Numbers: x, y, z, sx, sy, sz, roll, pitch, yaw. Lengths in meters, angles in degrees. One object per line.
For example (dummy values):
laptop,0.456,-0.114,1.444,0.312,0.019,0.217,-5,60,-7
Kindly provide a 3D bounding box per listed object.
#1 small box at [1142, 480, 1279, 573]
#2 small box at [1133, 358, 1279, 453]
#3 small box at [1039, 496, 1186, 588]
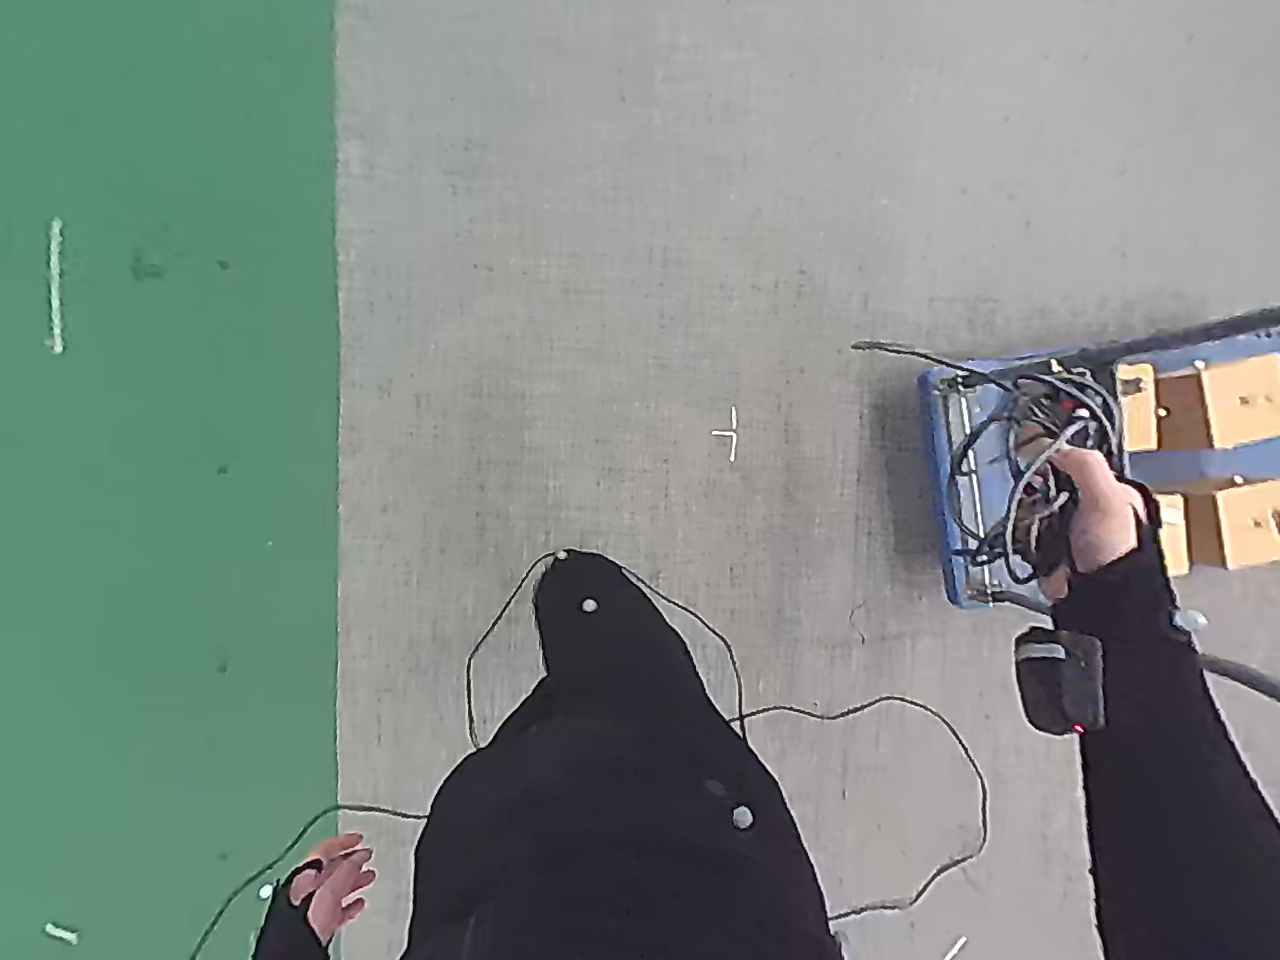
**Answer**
small box,1.271,0.096,1.189,0.179,0.176,0.168,-10,92,-1
small box,1.229,-0.155,1.179,0.179,0.176,0.168,-13,93,-2
small box,1.023,0.128,1.181,0.179,0.176,0.168,-7,92,-2
